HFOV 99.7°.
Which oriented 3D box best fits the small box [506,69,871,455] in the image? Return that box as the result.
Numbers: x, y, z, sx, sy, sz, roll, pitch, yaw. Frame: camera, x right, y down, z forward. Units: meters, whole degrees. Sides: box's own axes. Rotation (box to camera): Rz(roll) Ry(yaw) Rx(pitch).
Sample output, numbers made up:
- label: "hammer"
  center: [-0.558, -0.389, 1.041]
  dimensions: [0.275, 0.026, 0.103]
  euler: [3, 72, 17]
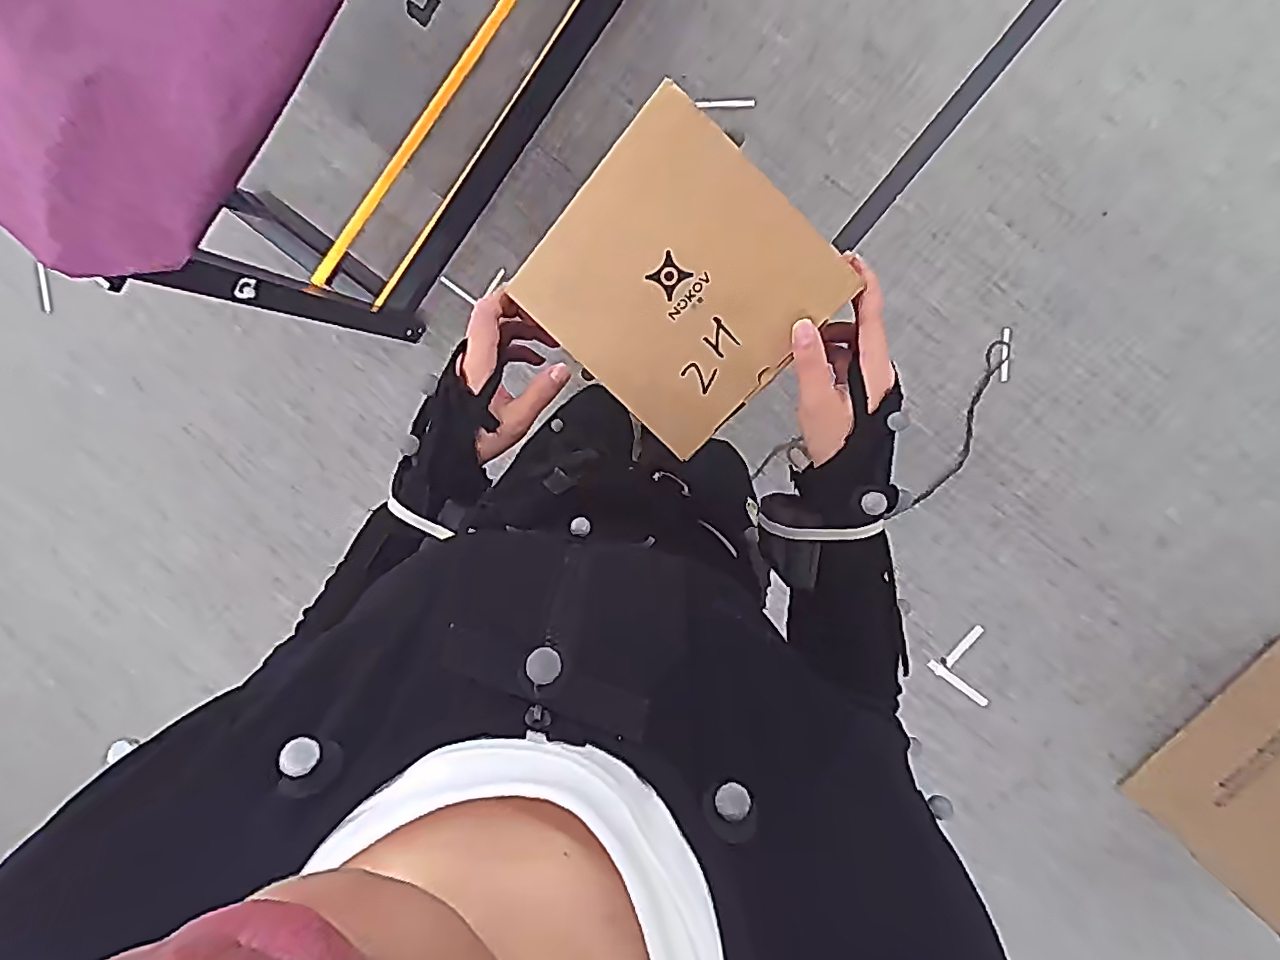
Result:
- label: "small box"
  center: [0.037, -0.149, 0.419]
  dimensions: [0.179, 0.176, 0.168]
  euler: [43, 109, -6]
